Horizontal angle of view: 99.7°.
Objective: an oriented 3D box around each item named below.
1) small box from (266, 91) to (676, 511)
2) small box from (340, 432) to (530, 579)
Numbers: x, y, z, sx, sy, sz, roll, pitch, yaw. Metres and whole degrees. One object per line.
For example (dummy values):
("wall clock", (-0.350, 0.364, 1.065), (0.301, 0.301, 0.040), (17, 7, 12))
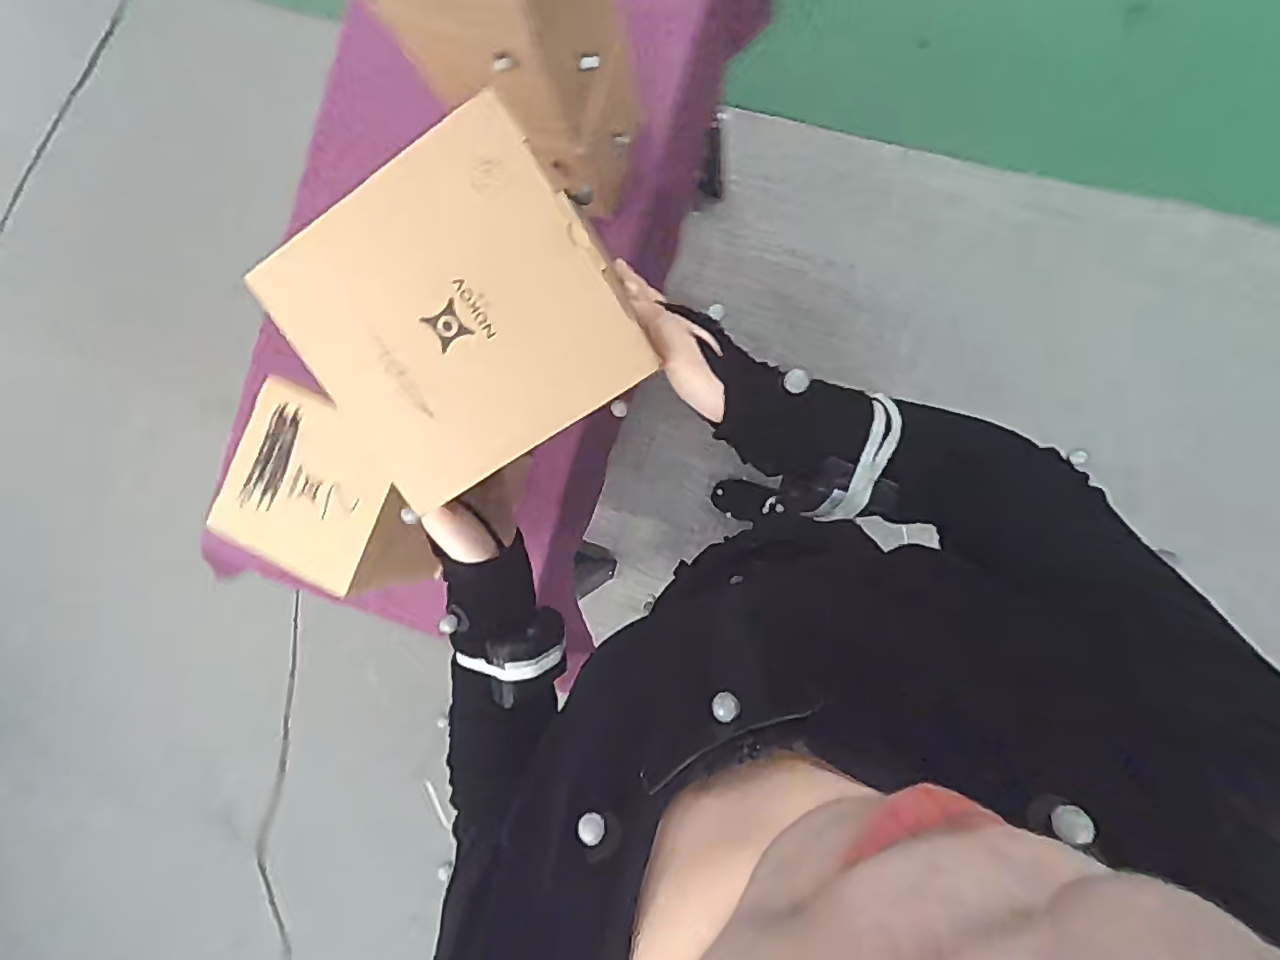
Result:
("small box", (-0.090, -0.109, 0.376), (0.179, 0.176, 0.168), (-29, 100, 11))
("small box", (-0.278, 0.021, 0.770), (0.168, 0.176, 0.179), (19, 91, 10))
